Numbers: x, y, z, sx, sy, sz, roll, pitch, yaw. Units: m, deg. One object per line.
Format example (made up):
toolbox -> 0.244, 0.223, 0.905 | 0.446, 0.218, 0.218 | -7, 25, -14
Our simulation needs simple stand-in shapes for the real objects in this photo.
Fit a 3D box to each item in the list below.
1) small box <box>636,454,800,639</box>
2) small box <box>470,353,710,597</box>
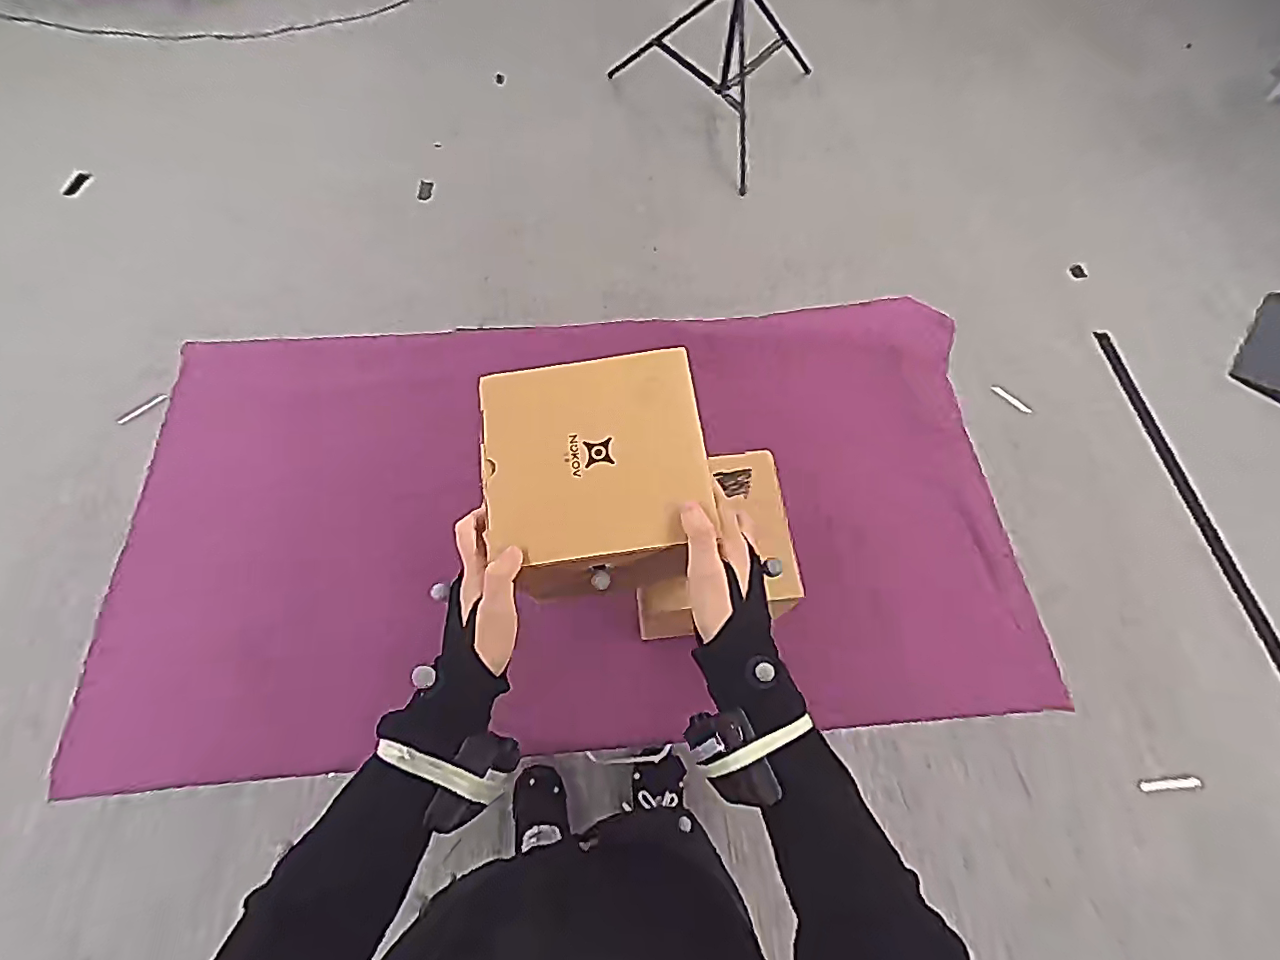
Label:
small box -> 0.076, 0.087, 0.664 | 0.168, 0.176, 0.179 | -5, 65, -3
small box -> -0.041, 0.007, 0.499 | 0.179, 0.176, 0.168 | -9, 71, 1
